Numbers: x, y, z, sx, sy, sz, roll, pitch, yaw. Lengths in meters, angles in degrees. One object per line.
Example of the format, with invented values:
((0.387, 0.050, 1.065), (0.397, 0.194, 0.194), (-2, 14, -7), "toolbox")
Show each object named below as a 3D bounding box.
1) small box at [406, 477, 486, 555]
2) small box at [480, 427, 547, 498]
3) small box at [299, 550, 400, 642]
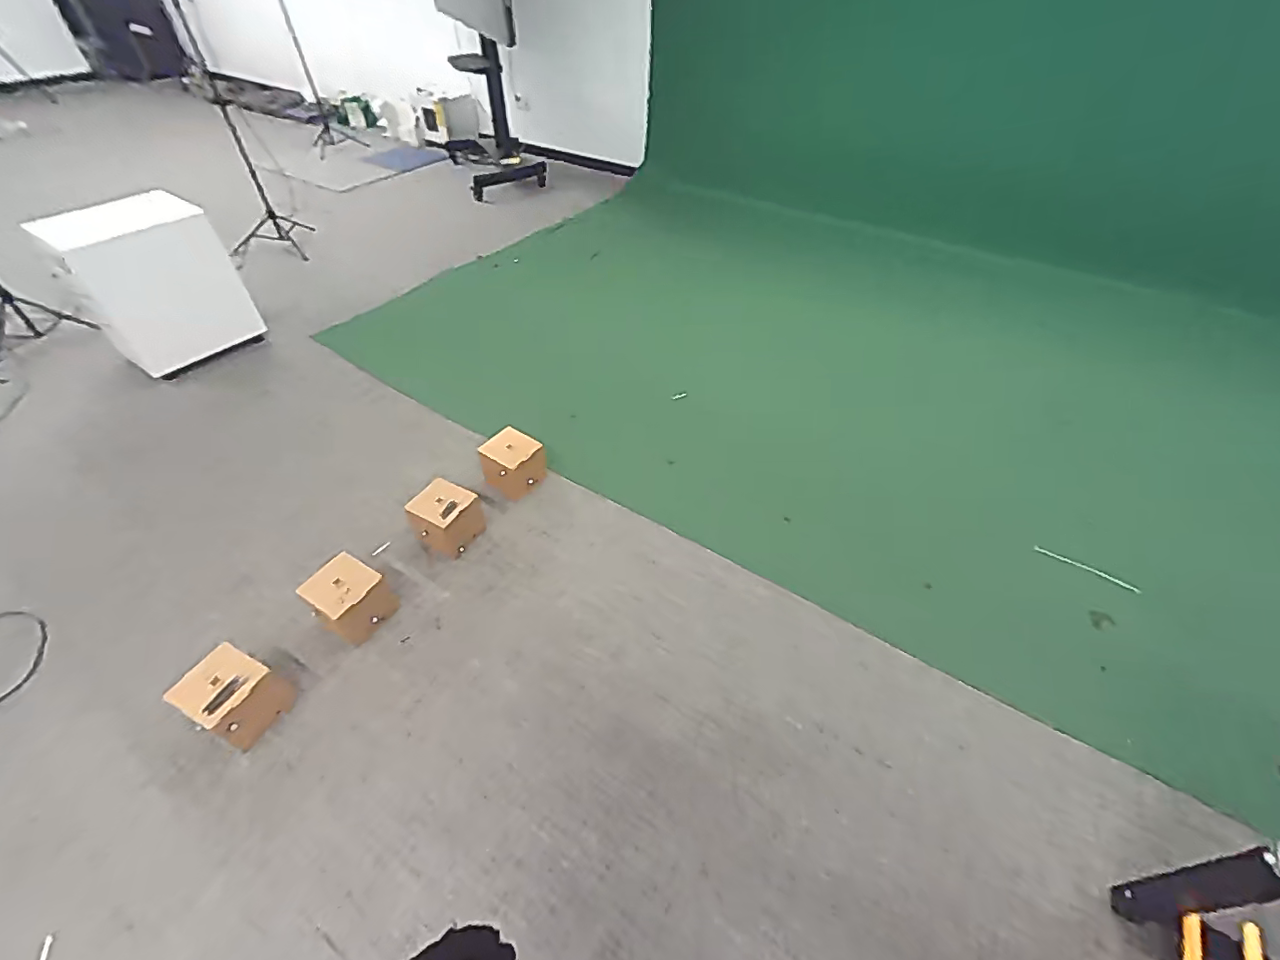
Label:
((-0.642, 0.125, 1.814), (0.179, 0.176, 0.168), (22, 48, 19), "small box")
((-0.465, -0.063, 2.009), (0.179, 0.176, 0.168), (27, 51, 22), "small box")
((-0.846, 0.343, 1.586), (0.179, 0.176, 0.168), (25, 51, 19), "small box")
